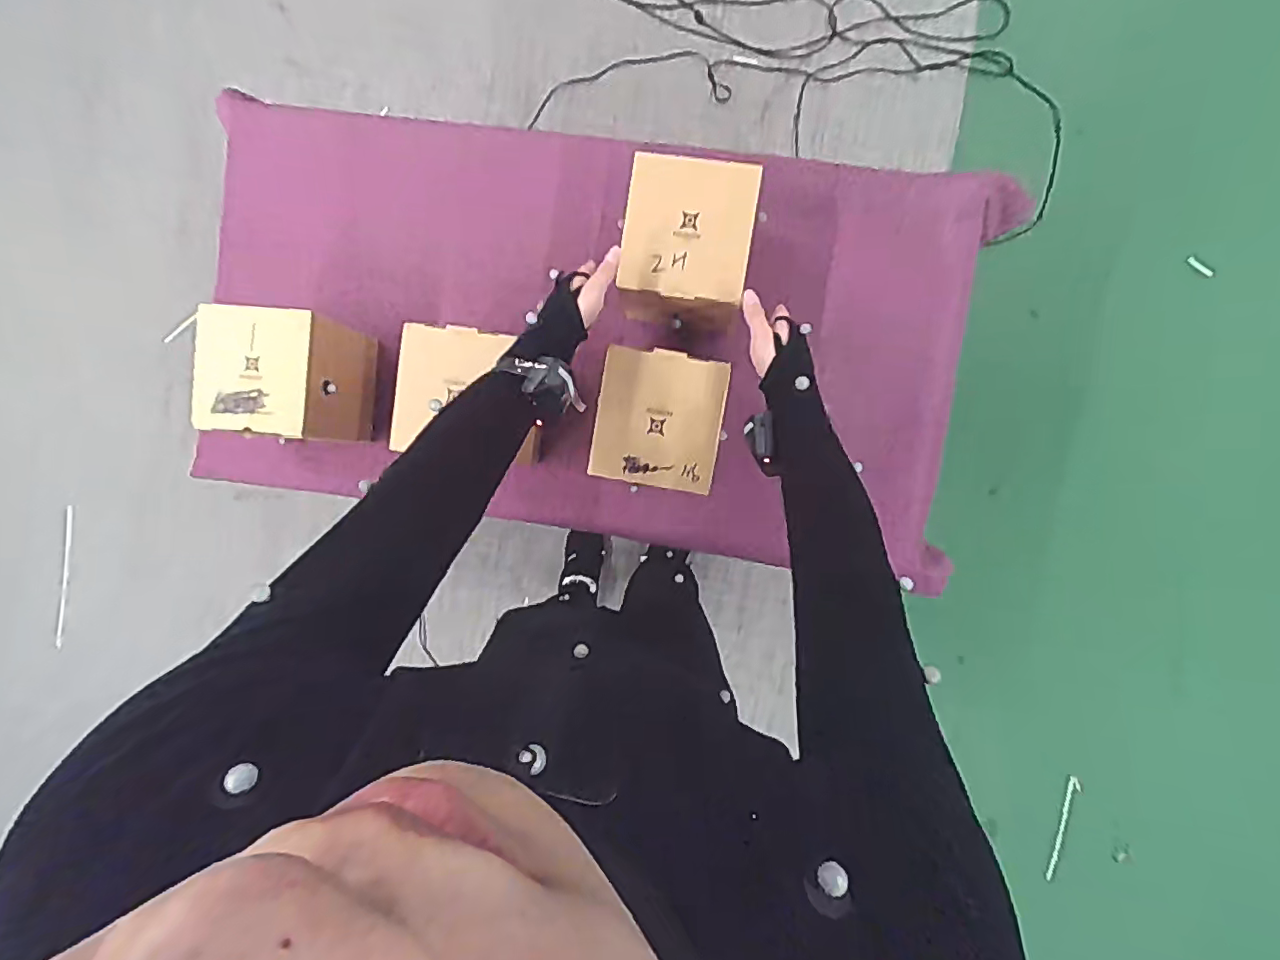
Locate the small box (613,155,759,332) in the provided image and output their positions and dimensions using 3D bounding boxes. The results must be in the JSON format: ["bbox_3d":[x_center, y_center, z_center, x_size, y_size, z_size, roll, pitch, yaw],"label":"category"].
[{"bbox_3d":[0.065,-0.326,0.775,0.168,0.176,0.179,9,95,5],"label":"small box"}]

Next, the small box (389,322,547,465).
[{"bbox_3d":[-0.246,-0.121,0.814,0.168,0.176,0.179,9,94,6],"label":"small box"}]

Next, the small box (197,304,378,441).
[{"bbox_3d":[-0.530,-0.155,0.834,0.168,0.176,0.179,5,91,5],"label":"small box"}]
